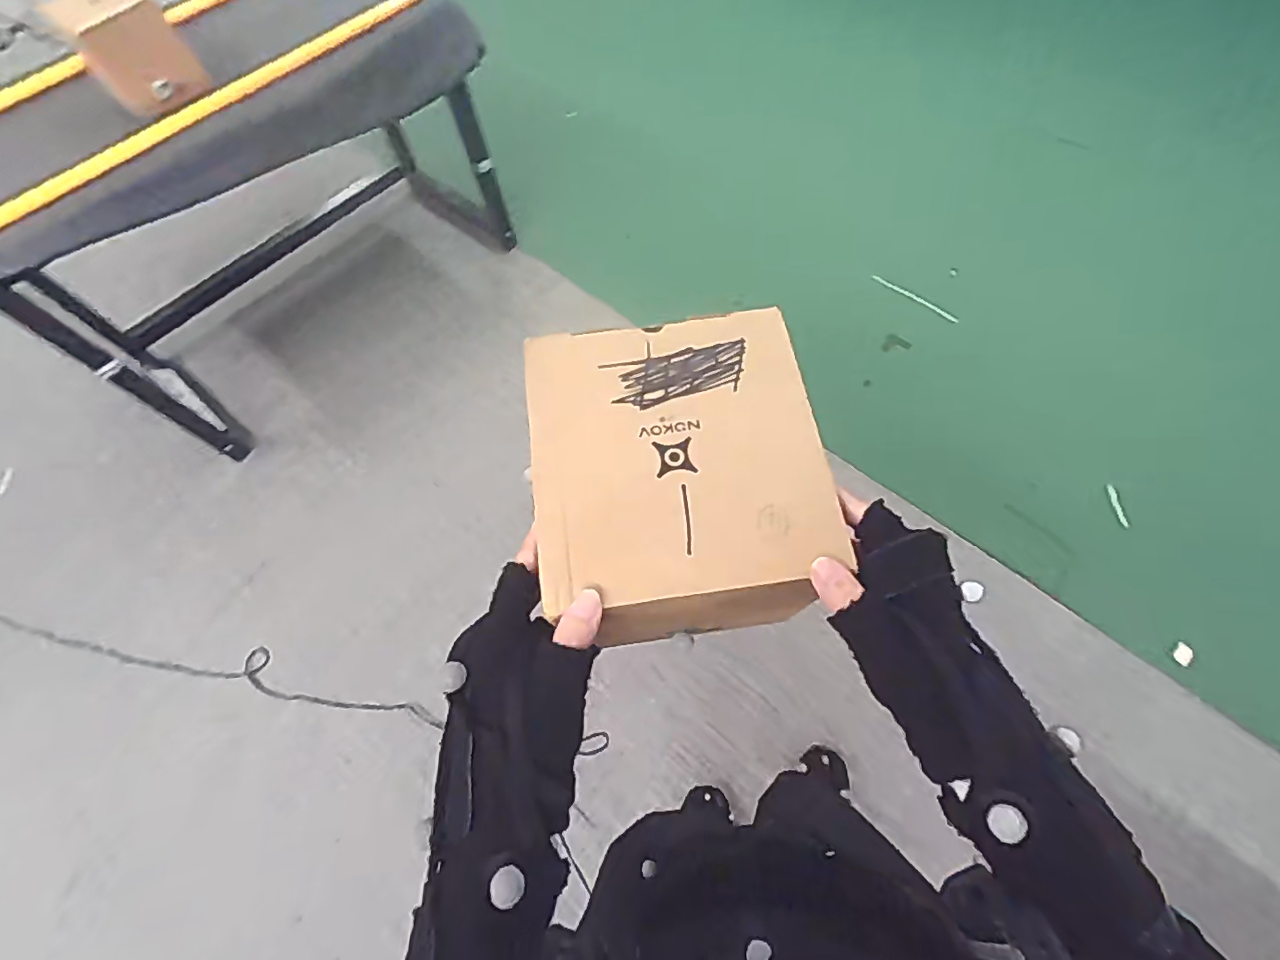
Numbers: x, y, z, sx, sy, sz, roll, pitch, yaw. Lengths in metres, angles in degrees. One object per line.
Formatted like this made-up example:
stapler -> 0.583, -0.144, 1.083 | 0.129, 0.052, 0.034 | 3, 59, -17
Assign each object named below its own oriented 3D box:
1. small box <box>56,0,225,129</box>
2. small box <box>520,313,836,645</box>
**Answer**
small box -> -1.061, -0.898, 1.162 | 0.179, 0.176, 0.168 | 36, 72, 18
small box -> 0.015, 0.011, 0.391 | 0.168, 0.176, 0.179 | -9, 67, -1
